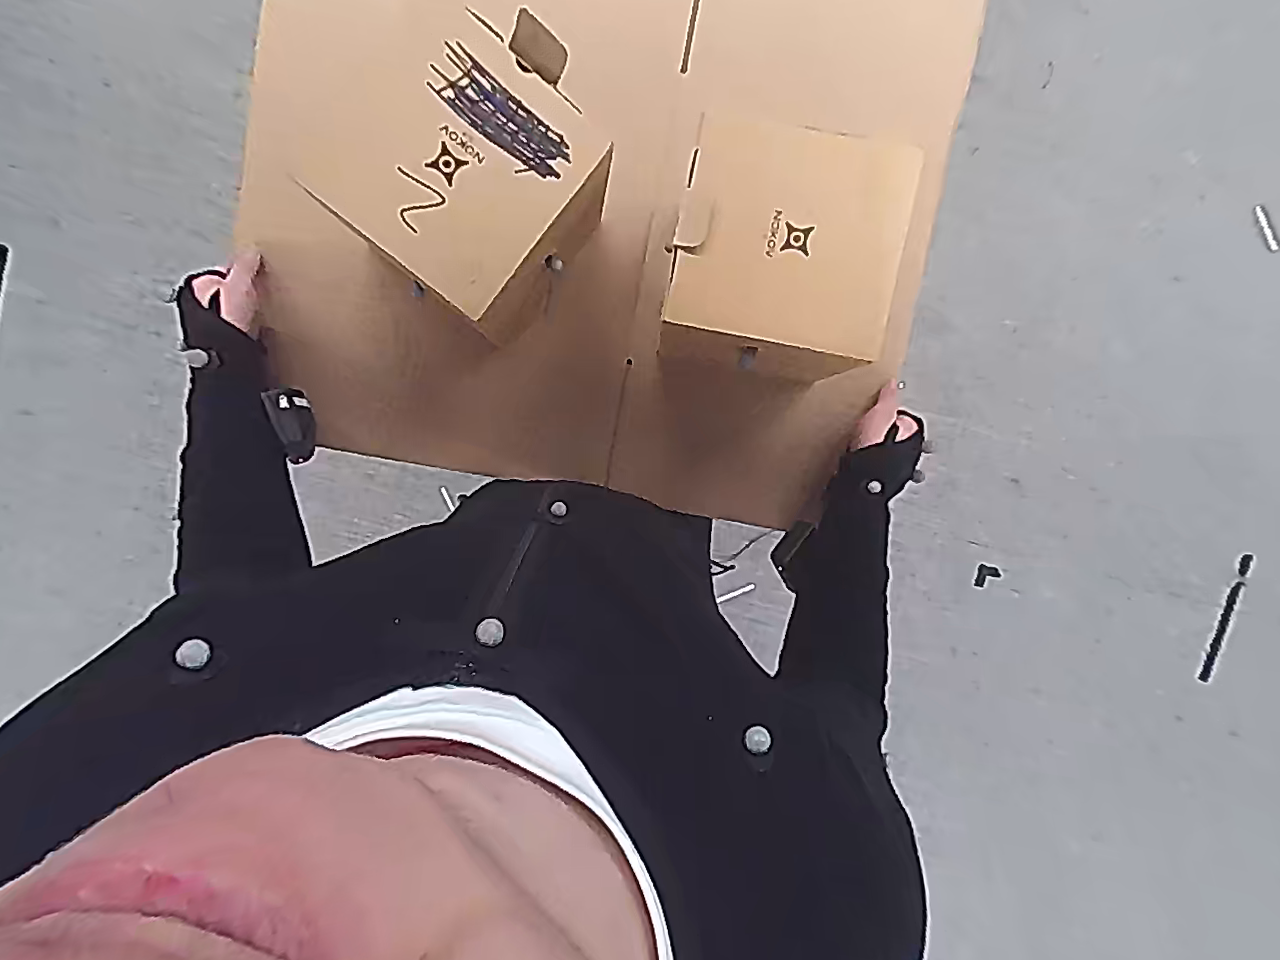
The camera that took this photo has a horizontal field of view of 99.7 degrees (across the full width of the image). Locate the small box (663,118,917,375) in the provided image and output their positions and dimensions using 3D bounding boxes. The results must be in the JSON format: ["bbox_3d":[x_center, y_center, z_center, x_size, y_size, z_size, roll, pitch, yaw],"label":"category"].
[{"bbox_3d":[0.123,-0.200,0.517,0.179,0.176,0.168,11,95,1],"label":"small box"}]
